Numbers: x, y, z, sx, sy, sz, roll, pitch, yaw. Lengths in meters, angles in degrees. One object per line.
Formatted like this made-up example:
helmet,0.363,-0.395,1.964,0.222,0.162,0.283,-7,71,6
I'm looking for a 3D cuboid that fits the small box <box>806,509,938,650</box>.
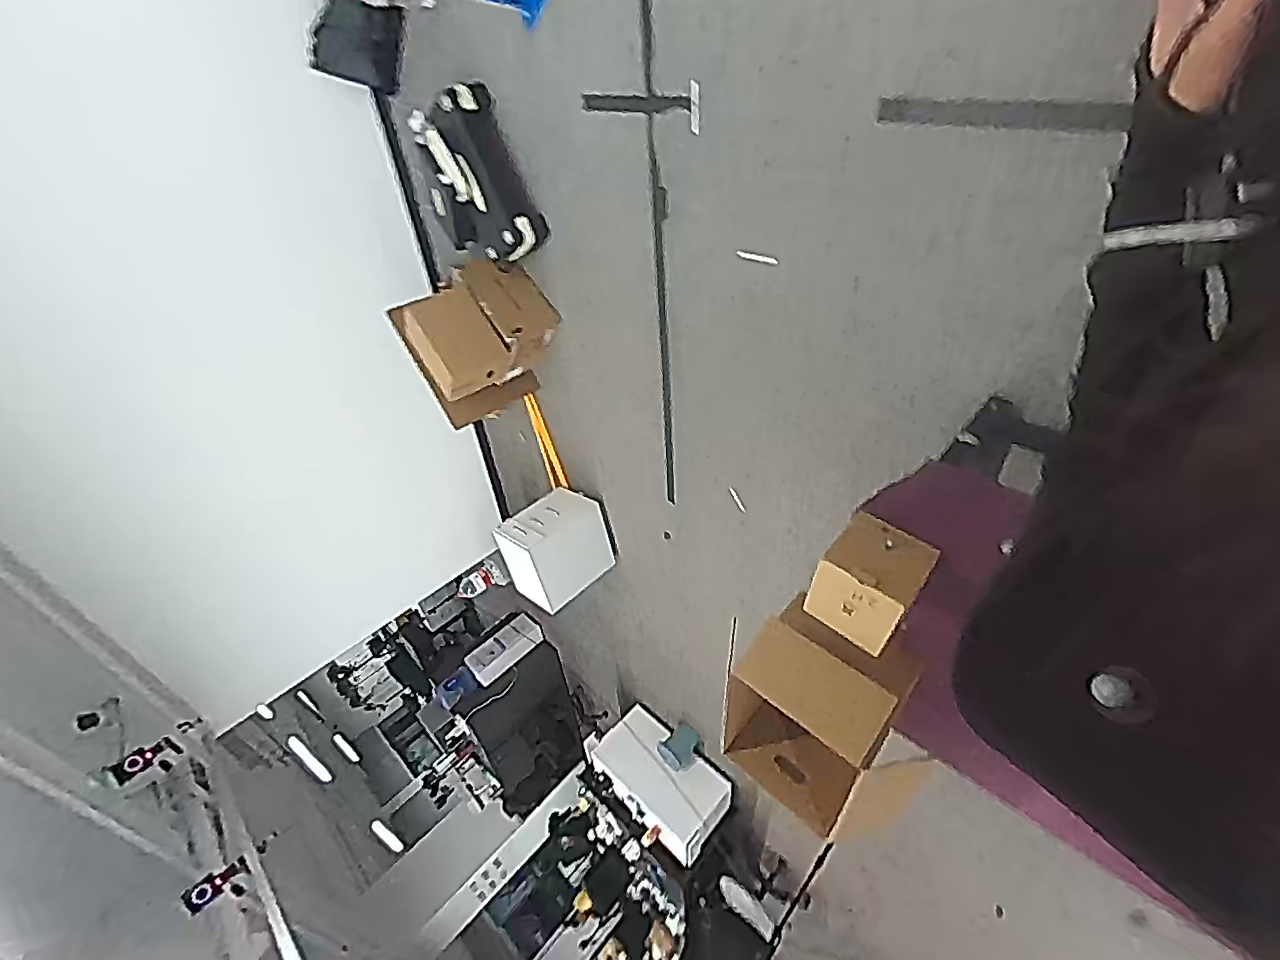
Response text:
small box,0.460,0.193,1.075,0.168,0.176,0.179,31,142,29
